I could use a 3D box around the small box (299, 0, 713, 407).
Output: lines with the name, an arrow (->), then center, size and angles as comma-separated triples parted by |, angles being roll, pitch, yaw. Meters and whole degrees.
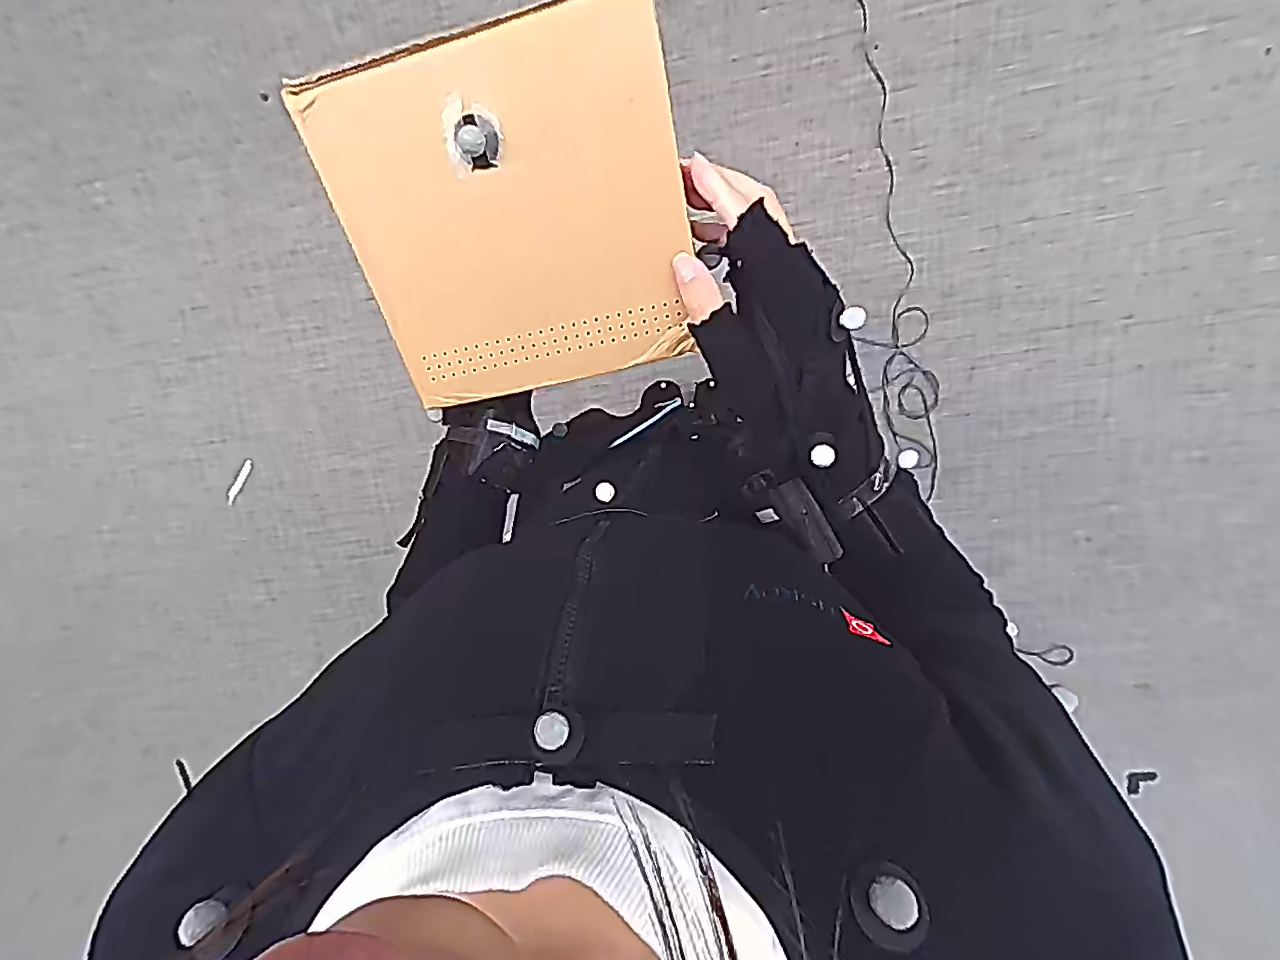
small box -> -0.057, -0.160, 0.348 | 0.179, 0.168, 0.176 | -10, 121, 8
